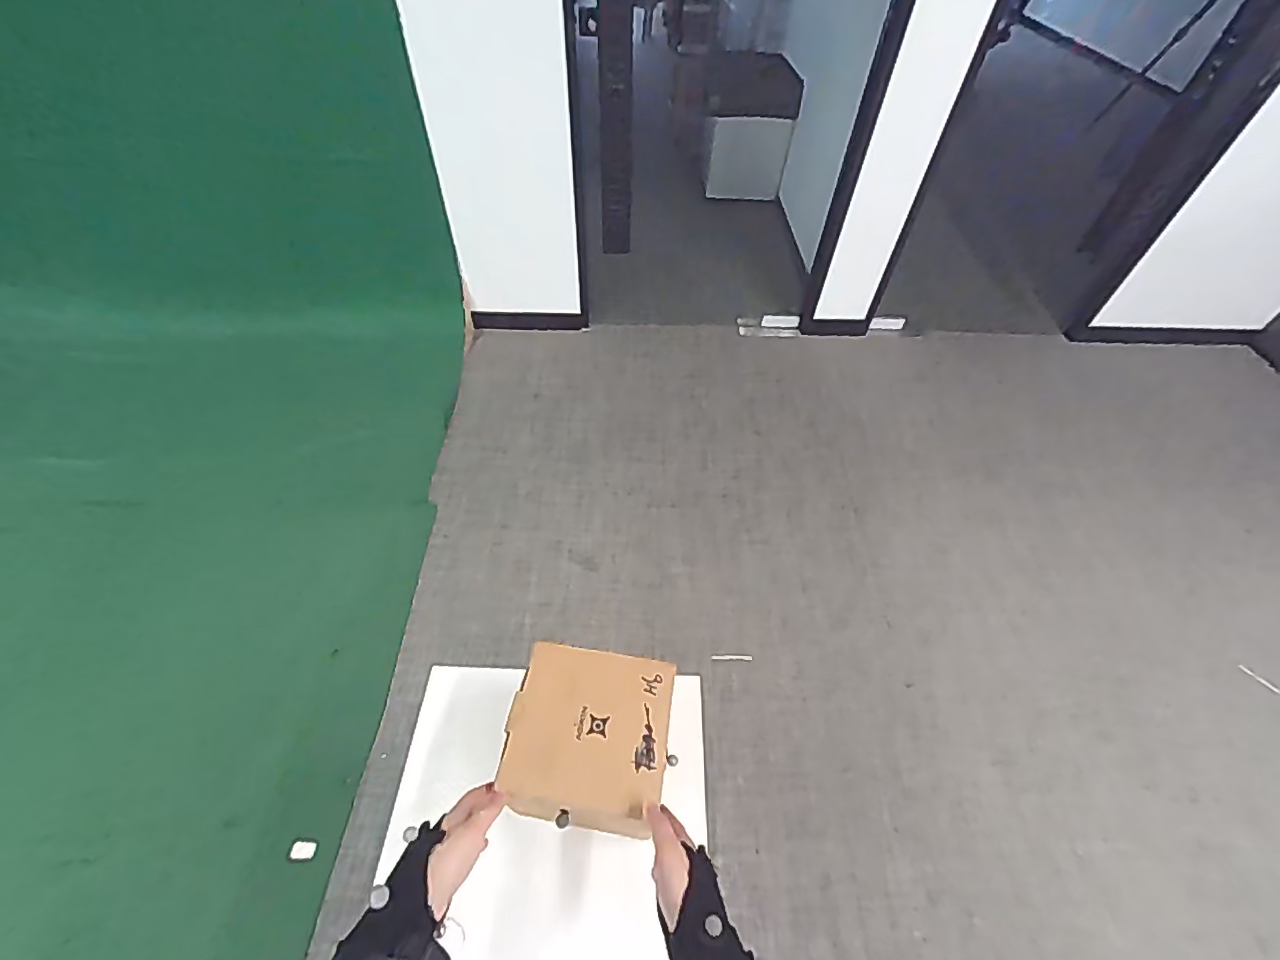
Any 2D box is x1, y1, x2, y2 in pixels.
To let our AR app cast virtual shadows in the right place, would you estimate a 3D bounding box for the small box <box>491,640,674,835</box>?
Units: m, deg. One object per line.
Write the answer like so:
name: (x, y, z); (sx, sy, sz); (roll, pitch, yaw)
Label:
small box: (-0.059, 0.319, 0.663); (0.179, 0.176, 0.168); (8, 51, 5)
